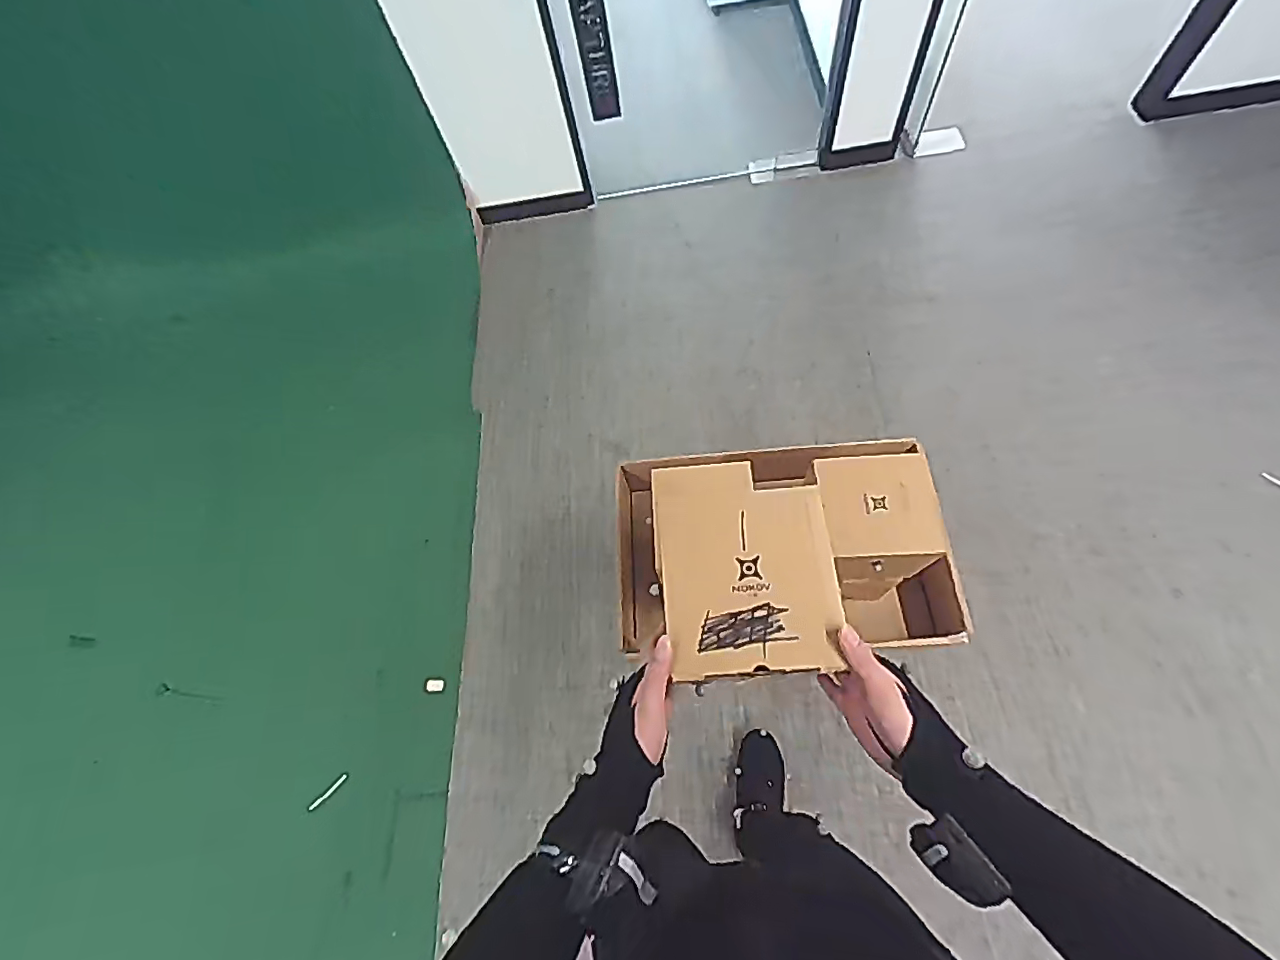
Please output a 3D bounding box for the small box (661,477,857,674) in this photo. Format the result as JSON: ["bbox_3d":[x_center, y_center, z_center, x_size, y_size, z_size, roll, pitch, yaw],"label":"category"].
[{"bbox_3d":[0.112,0.112,0.580,0.168,0.176,0.179,-4,67,2],"label":"small box"}]

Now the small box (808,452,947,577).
[{"bbox_3d":[0.373,0.064,0.902,0.179,0.176,0.168,-2,67,5],"label":"small box"}]

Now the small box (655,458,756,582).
[{"bbox_3d":[0.113,0.080,0.924,0.168,0.176,0.179,-4,66,6],"label":"small box"}]
